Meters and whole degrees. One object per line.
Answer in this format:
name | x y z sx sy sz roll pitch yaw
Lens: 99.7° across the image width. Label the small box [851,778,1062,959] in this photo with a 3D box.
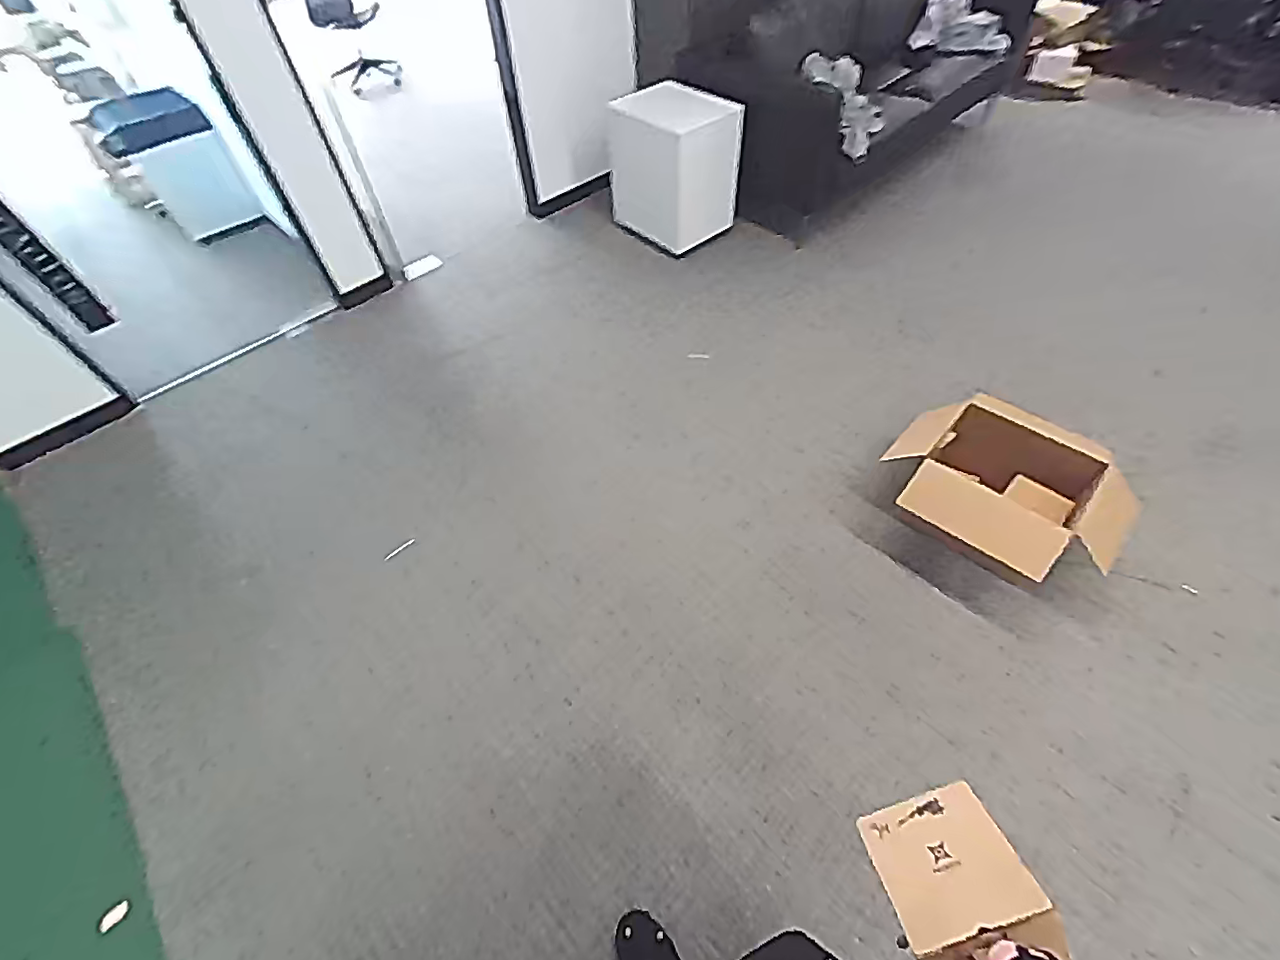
small box | 0.414 0.549 0.715 0.168 0.176 0.179 -25 20 6
